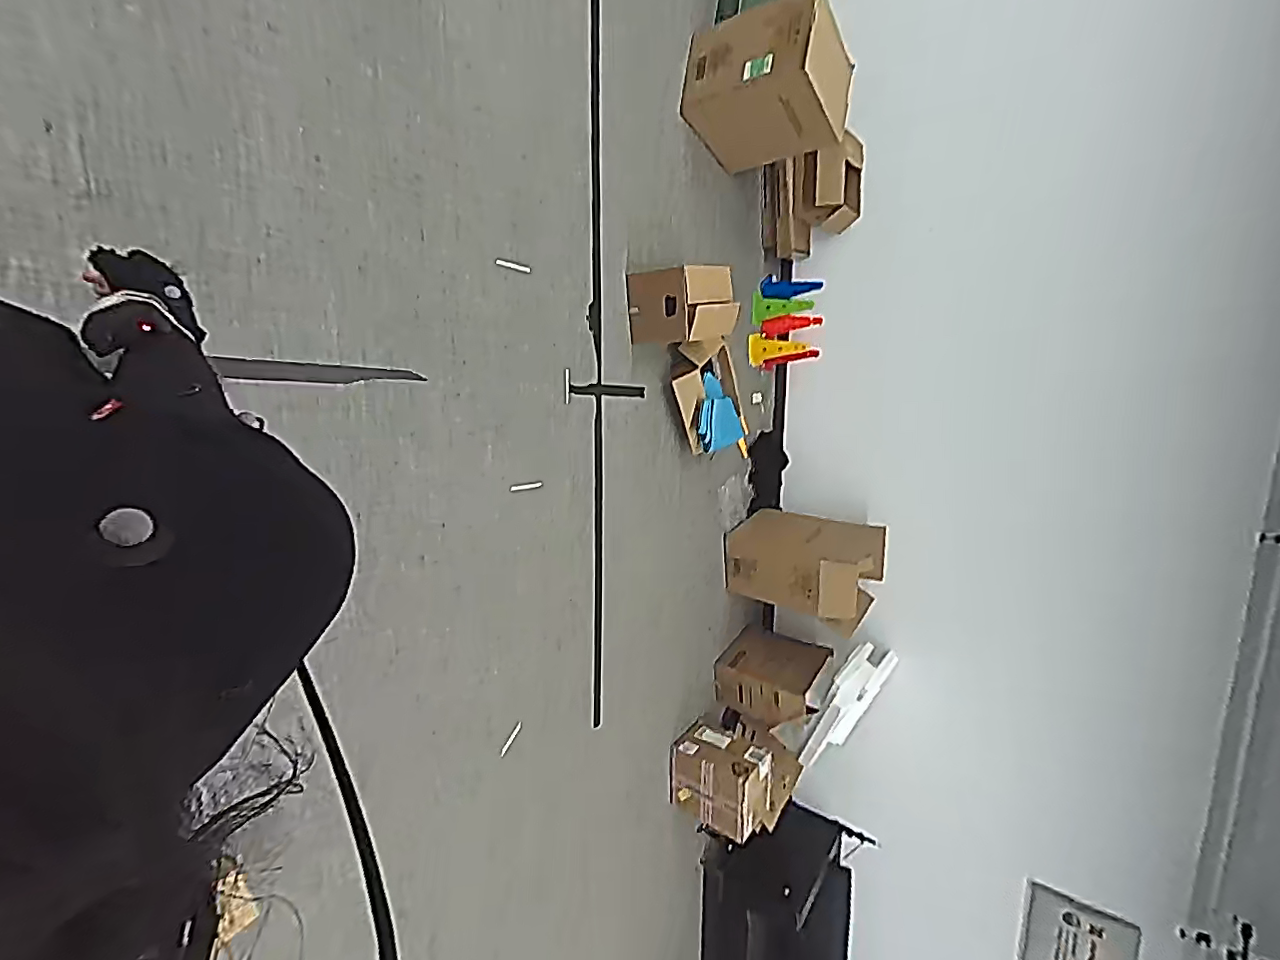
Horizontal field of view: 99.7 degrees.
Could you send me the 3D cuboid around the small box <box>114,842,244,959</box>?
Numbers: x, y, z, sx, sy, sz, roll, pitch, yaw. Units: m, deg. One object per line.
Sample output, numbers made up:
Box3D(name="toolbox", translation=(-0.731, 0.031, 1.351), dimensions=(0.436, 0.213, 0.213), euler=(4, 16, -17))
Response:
Box3D(name="small box", translation=(-1.069, 1.000, 1.250), dimensions=(0.179, 0.176, 0.168), euler=(-29, 120, -50))
